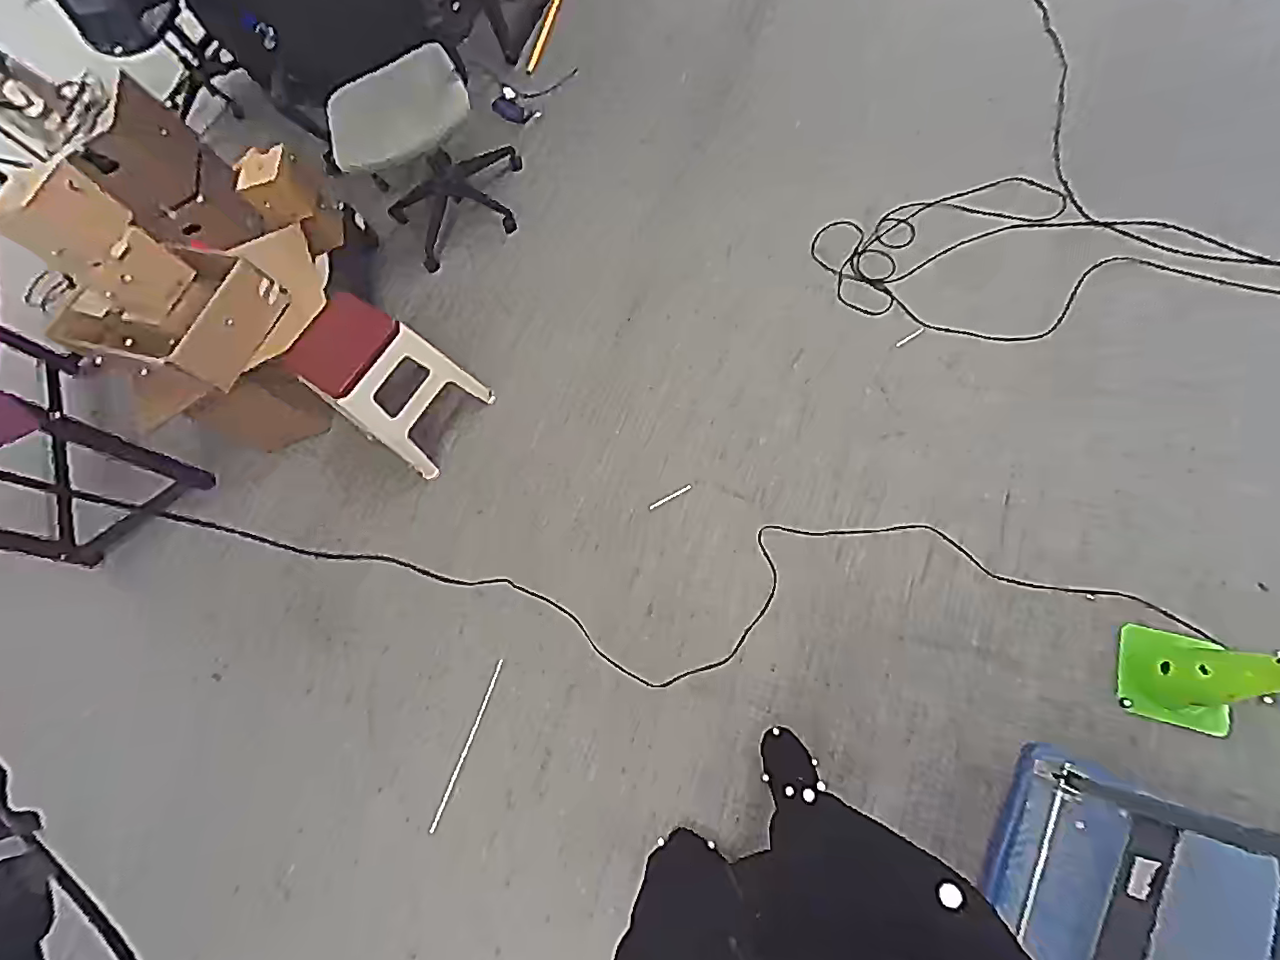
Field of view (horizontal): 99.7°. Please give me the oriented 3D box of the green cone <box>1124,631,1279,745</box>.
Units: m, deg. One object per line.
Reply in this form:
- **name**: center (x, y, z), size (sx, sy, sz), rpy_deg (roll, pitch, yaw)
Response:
- **green cone**: center (1.155, 0.388, 1.040), size (0.200, 0.368, 0.202), rpy_deg (12, 71, 18)
